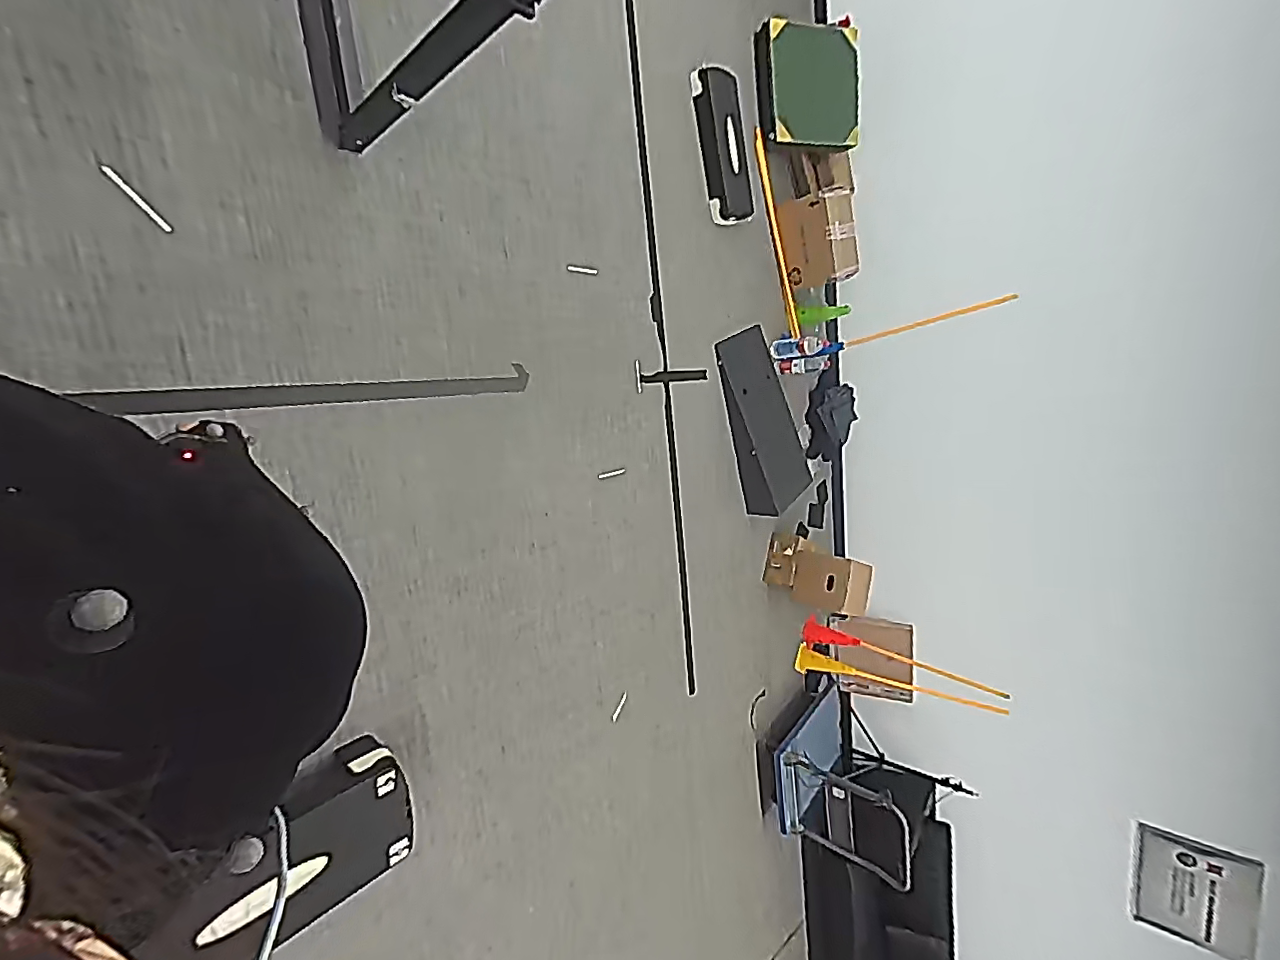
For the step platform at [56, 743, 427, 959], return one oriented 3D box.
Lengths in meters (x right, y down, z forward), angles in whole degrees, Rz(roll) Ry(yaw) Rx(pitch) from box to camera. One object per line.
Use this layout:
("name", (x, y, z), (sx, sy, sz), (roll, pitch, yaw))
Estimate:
("step platform", (-0.853, 0.906, 1.259), (0.684, 0.204, 0.286), (-8, 97, -50))
